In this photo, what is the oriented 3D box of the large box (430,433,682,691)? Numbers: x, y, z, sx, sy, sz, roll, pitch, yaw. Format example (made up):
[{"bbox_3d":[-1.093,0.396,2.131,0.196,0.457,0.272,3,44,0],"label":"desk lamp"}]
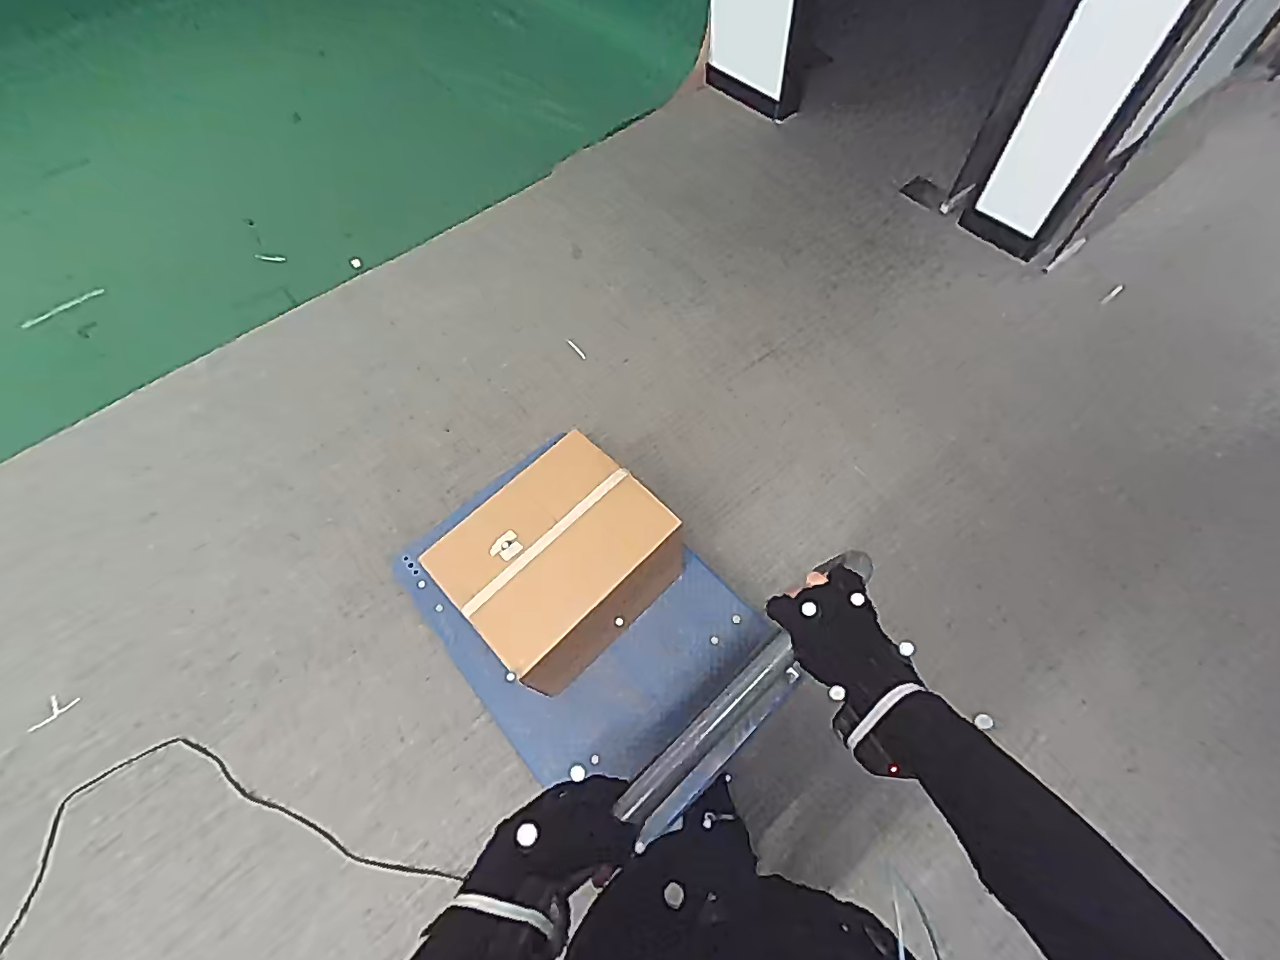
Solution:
[{"bbox_3d":[-0.151,0.185,1.171,0.320,0.320,0.408,40,73,22],"label":"large box"}]
